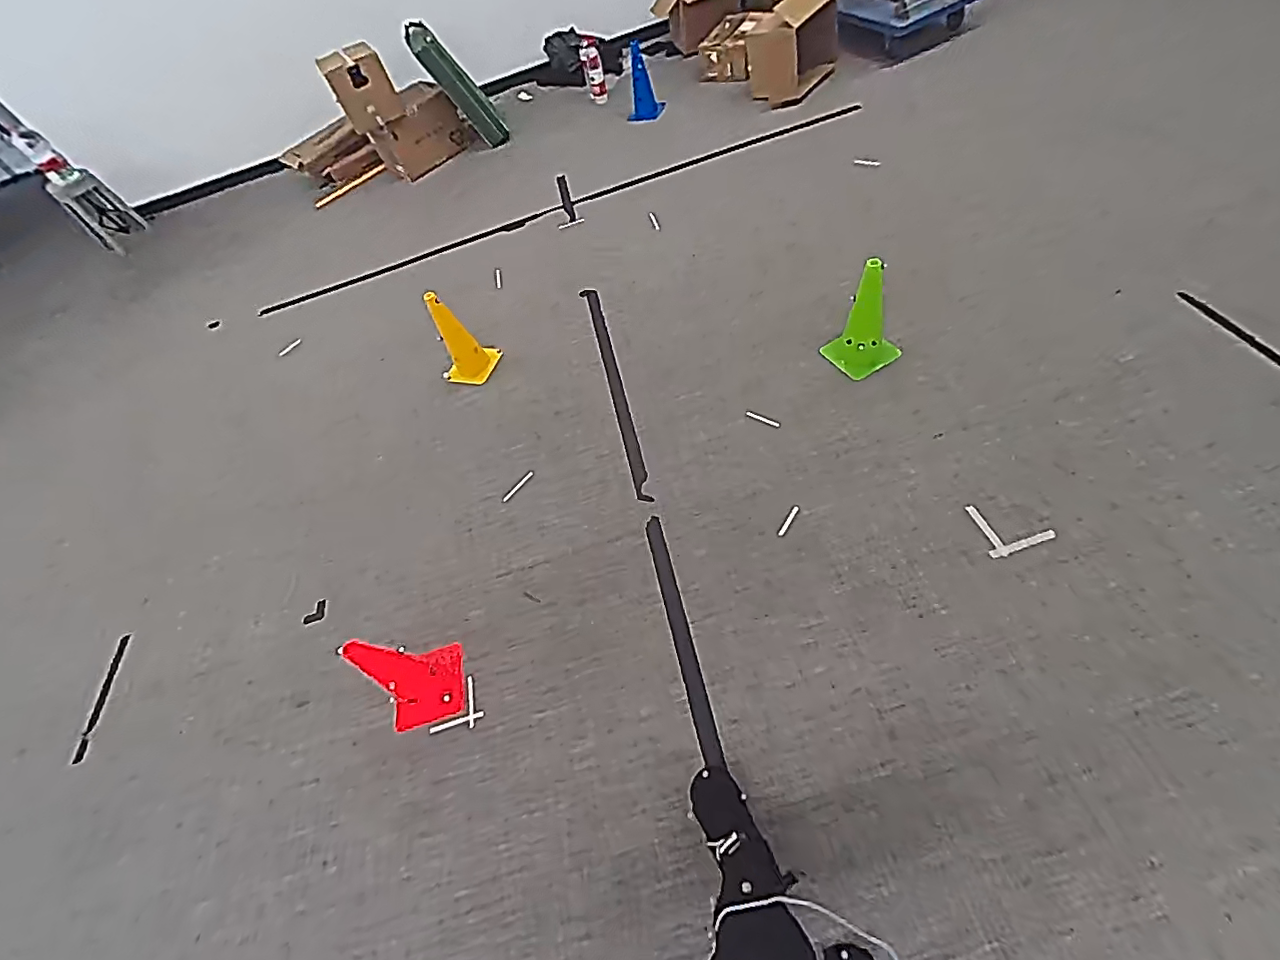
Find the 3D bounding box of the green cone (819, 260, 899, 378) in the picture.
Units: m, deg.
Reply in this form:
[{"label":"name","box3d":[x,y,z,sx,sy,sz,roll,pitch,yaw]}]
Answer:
[{"label":"green cone","box3d":[0.718,-0.538,1.727,0.200,0.368,0.202,-31,55,-7]}]

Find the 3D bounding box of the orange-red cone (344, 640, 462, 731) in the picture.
[{"label":"orange-red cone","box3d":[-0.625,0.482,1.374,0.198,0.360,0.199,-18,52,2]}]
